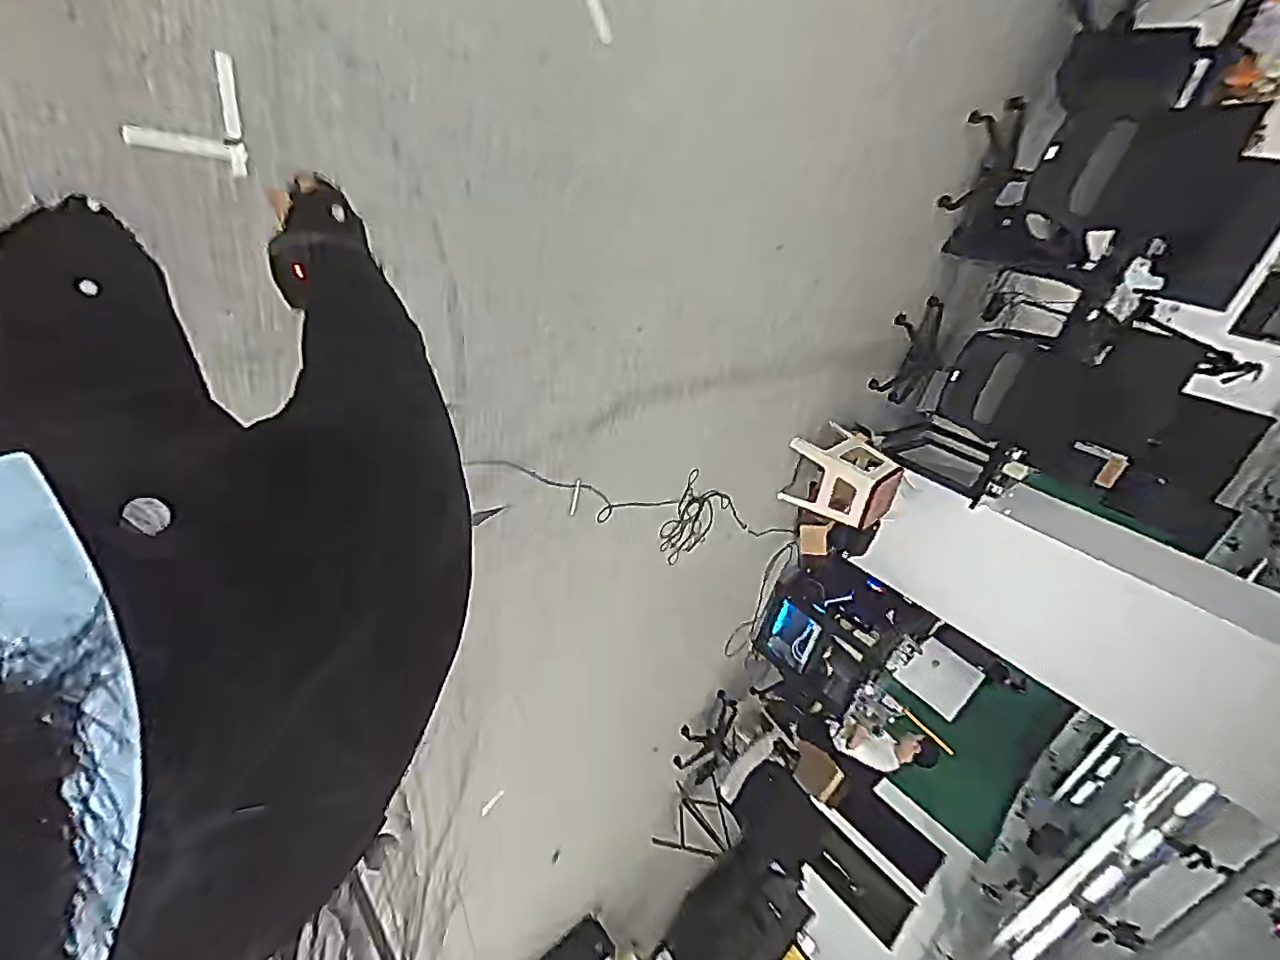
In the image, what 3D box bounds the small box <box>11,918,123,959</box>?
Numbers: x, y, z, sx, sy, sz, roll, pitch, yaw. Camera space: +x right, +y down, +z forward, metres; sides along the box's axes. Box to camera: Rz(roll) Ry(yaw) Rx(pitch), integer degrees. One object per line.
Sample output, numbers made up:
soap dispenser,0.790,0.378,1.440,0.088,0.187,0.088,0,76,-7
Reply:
small box,-1.234,1.103,1.159,0.168,0.176,0.179,-14,127,-41
